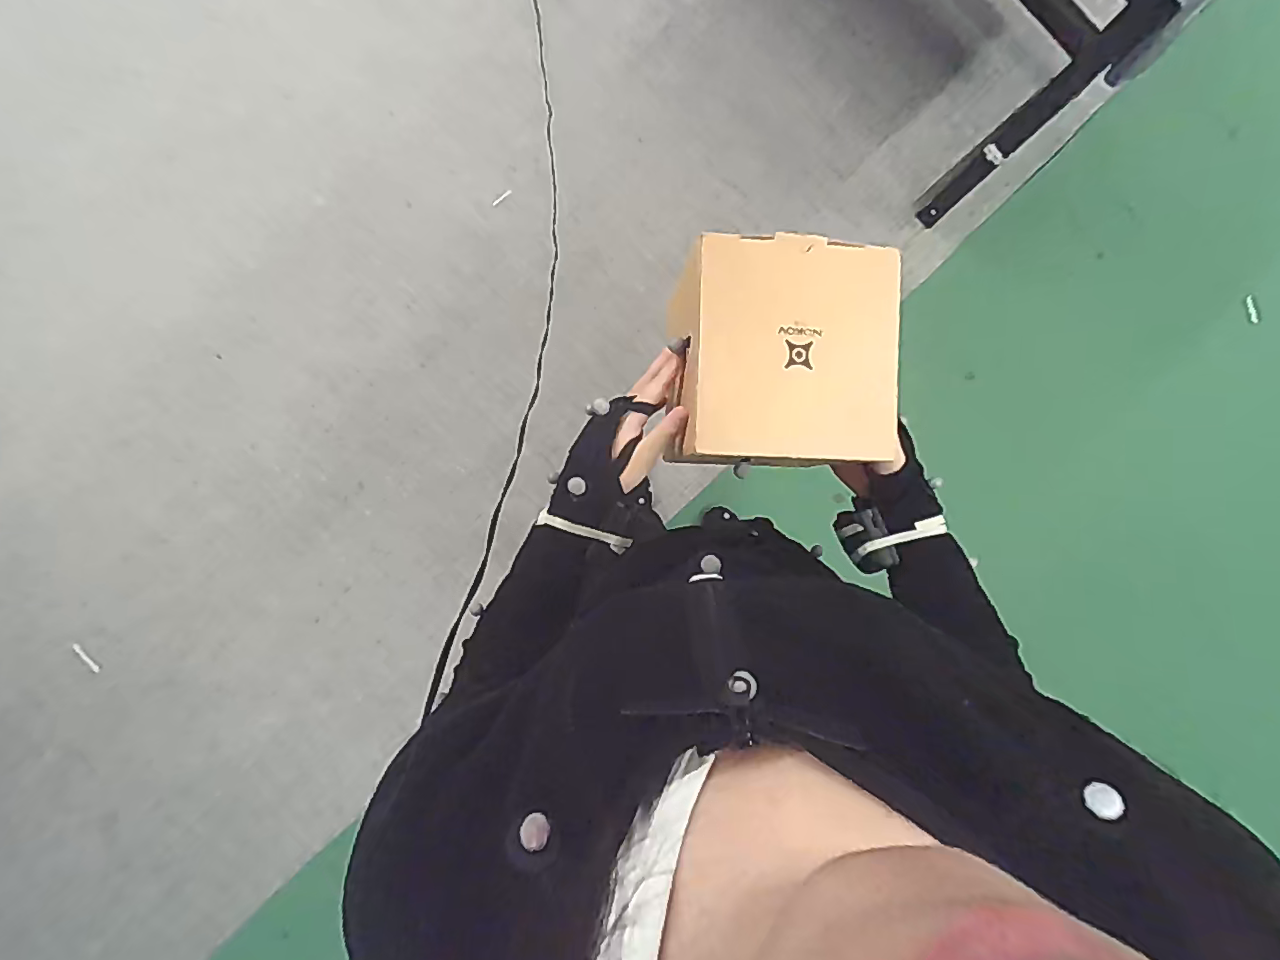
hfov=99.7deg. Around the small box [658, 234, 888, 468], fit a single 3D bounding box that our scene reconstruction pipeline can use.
[{"bbox_3d":[0.110,-0.103,0.510,0.168,0.176,0.179,2,87,-6],"label":"small box"}]
